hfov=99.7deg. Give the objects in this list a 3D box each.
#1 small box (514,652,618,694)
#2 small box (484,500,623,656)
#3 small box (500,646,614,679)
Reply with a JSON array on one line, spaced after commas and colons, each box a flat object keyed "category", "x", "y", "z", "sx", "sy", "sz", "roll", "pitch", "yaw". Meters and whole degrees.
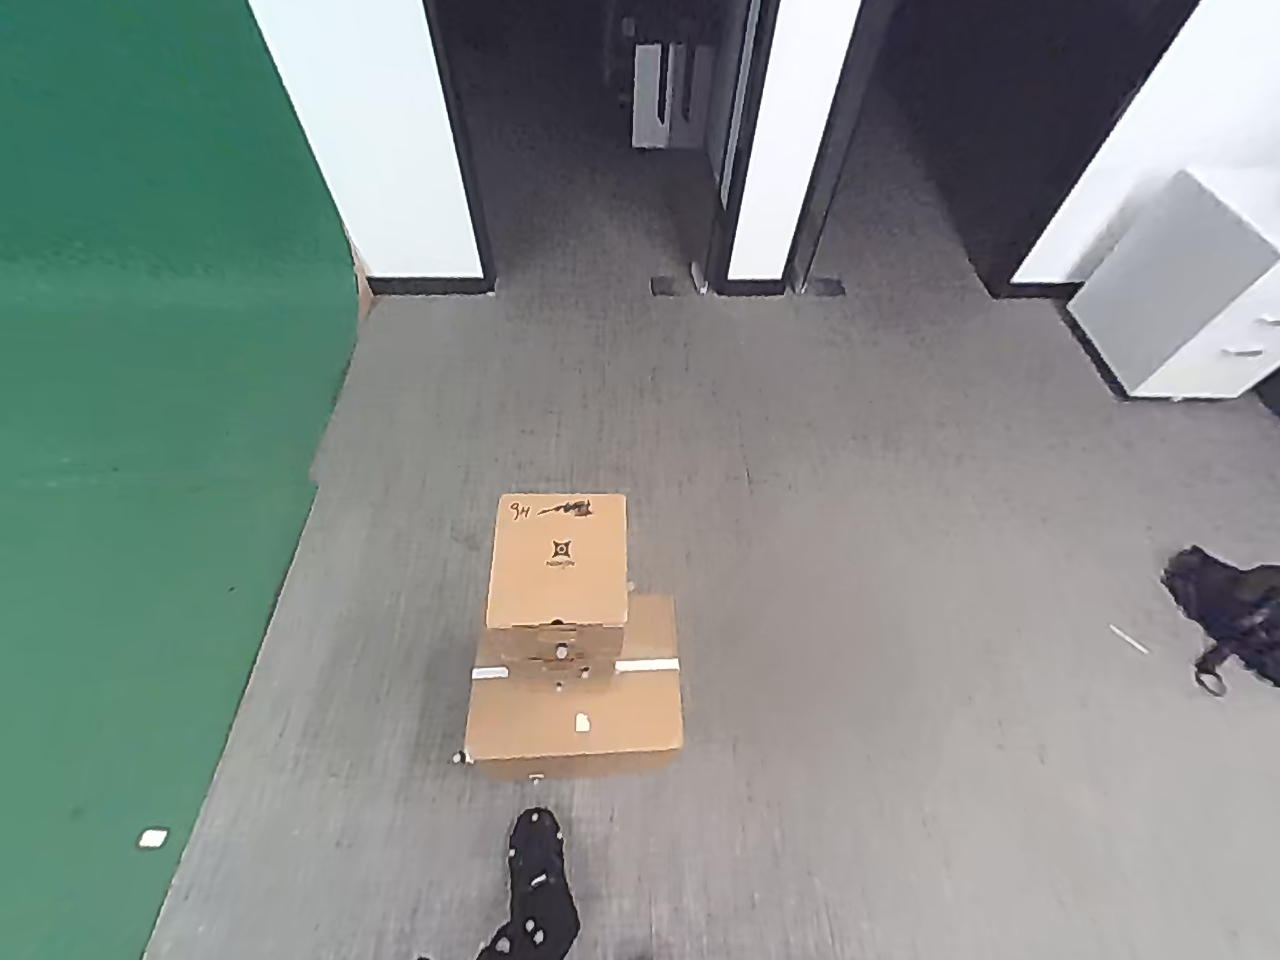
[{"category": "small box", "x": -0.134, "y": 0.305, "z": 1.022, "sx": 0.179, "sy": 0.176, "sz": 0.168, "roll": -1, "pitch": 61, "yaw": -4}, {"category": "small box", "x": -0.107, "y": 0.141, "z": 0.742, "sx": 0.168, "sy": 0.176, "sz": 0.179, "roll": 0, "pitch": 61, "yaw": -4}, {"category": "small box", "x": -0.126, "y": 0.224, "z": 0.883, "sx": 0.168, "sy": 0.176, "sz": 0.179, "roll": -1, "pitch": 60, "yaw": -4}]
